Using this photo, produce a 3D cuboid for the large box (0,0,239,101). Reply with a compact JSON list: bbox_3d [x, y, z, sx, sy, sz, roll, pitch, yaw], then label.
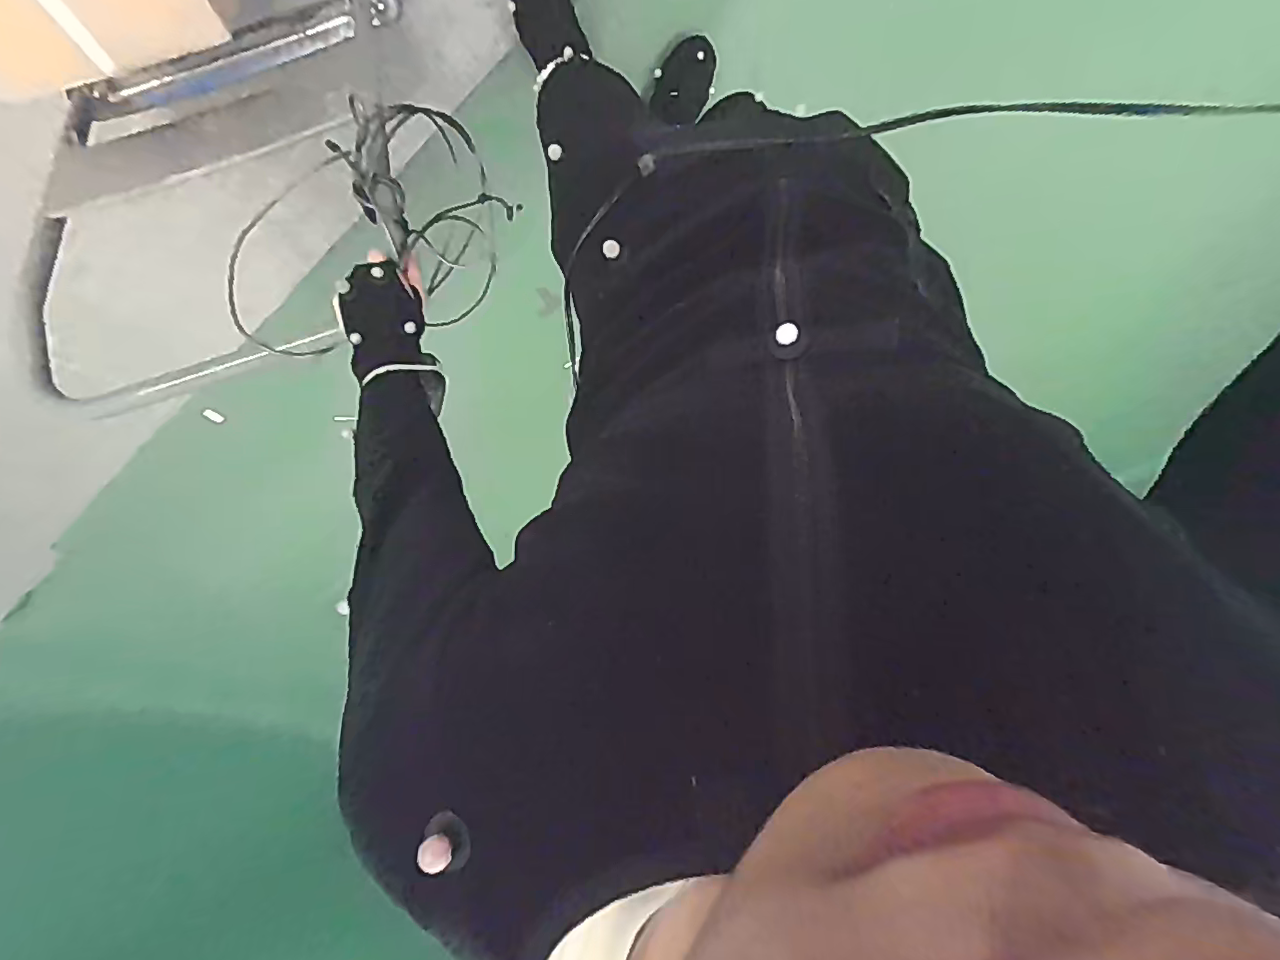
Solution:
[{"bbox_3d":[-0.712,-0.726,0.571,0.320,0.320,0.408,-16,151,0],"label":"large box"}]
